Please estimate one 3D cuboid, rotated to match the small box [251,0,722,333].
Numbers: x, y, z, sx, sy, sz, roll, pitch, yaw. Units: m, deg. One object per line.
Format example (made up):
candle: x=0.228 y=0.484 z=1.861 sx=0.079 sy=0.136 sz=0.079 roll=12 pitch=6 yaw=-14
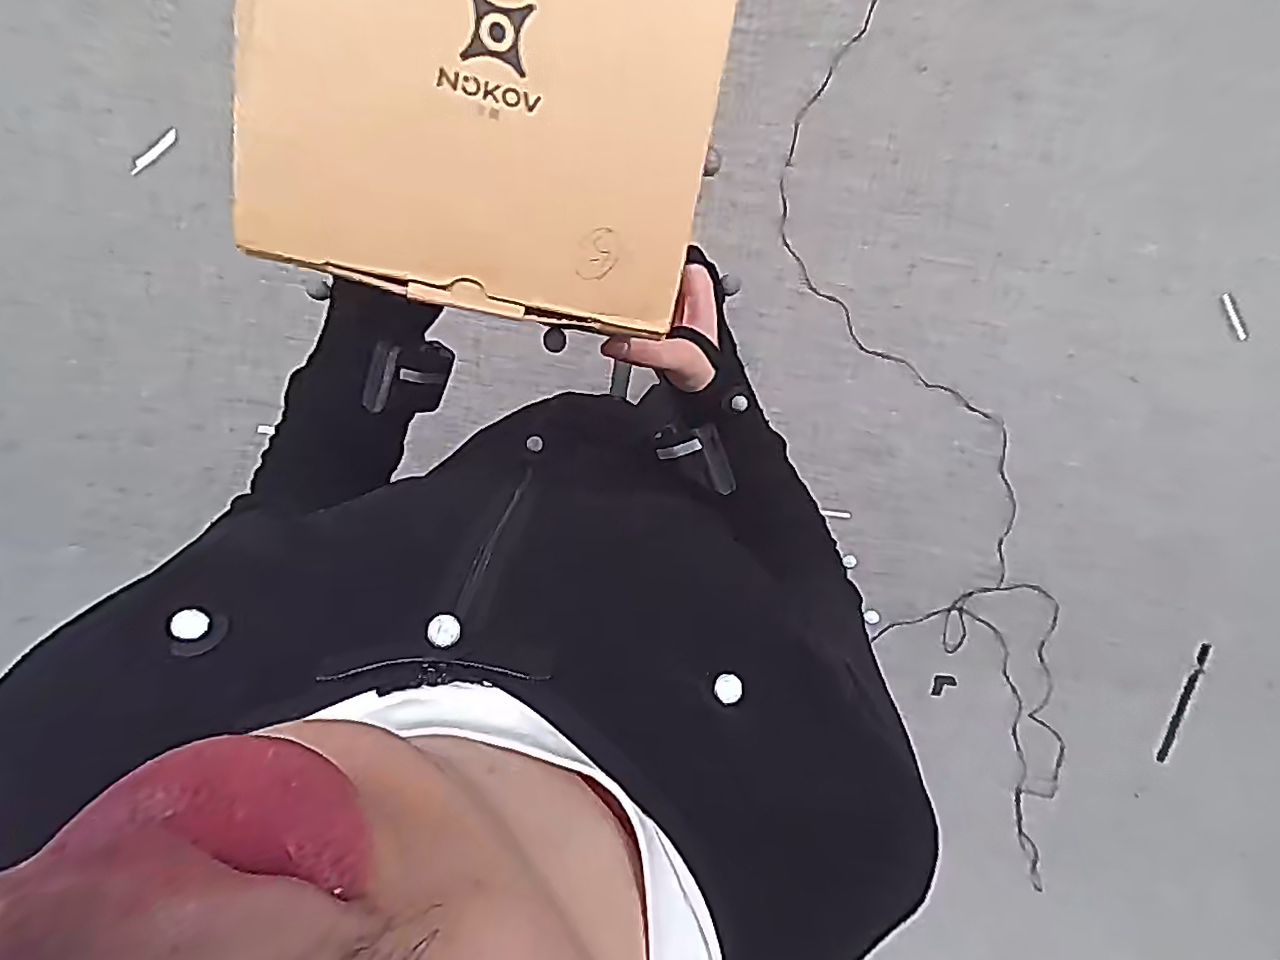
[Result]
small box: x=-0.067 y=-0.180 z=0.281 sx=0.168 sy=0.176 sz=0.179 roll=8 pitch=103 yaw=-12
